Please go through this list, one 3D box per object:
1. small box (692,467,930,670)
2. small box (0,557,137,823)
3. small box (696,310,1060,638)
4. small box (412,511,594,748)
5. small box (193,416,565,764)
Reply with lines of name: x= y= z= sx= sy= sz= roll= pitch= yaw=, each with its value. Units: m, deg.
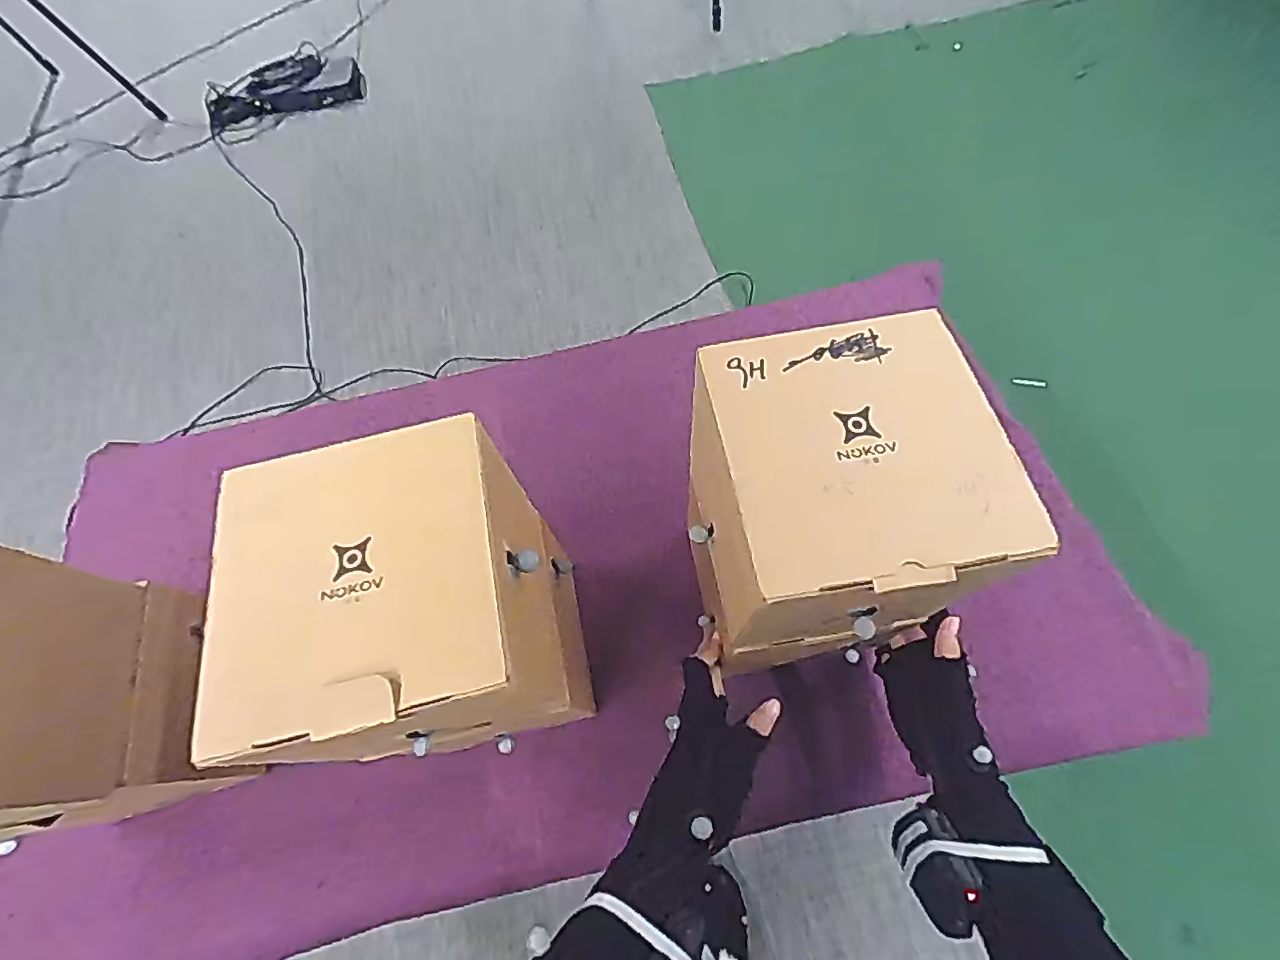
small box: x=0.148 y=0.086 z=0.538 sx=0.168 sy=0.176 sz=0.179 roll=-9 pitch=64 yaw=0
small box: x=-0.506 y=0.153 z=0.371 sx=0.168 sy=0.176 sz=0.179 roll=-12 pitch=65 yaw=-4
small box: x=0.137 y=0.011 z=0.393 sx=0.168 sy=0.176 sz=0.179 roll=-9 pitch=65 yaw=-1
small box: x=-0.147 y=0.154 z=0.529 sx=0.168 sy=0.176 sz=0.179 roll=-13 pitch=65 yaw=-1
small box: x=-0.158 y=0.085 z=0.382 sx=0.168 sy=0.176 sz=0.179 roll=-14 pitch=65 yaw=-2
